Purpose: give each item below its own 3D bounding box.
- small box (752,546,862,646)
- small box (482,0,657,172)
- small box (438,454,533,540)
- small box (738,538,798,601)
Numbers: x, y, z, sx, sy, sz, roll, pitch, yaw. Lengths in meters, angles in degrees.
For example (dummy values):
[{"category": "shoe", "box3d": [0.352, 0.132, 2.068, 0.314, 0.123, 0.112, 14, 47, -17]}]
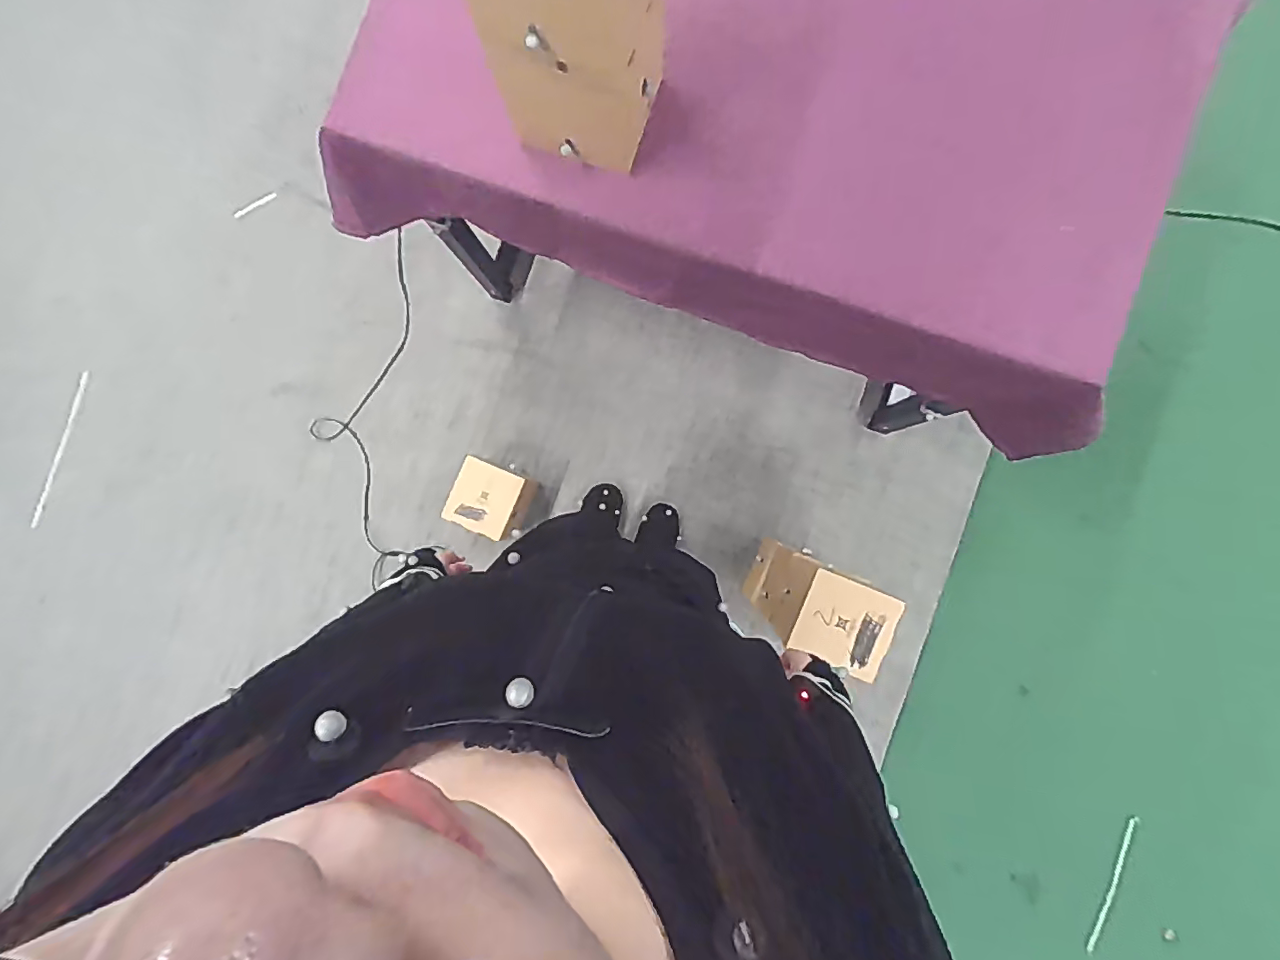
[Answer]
[{"category": "small box", "box3d": [0.377, 0.259, 1.257, 0.179, 0.176, 0.168, 21, 90, 1]}, {"category": "small box", "box3d": [-0.082, -0.552, 0.726, 0.179, 0.176, 0.168, 18, 88, 1]}, {"category": "small box", "box3d": [-0.403, 0.046, 1.449, 0.168, 0.176, 0.179, 23, 88, 2]}, {"category": "small box", "box3d": [0.375, 0.259, 1.420, 0.179, 0.176, 0.168, 24, 89, 2]}]
